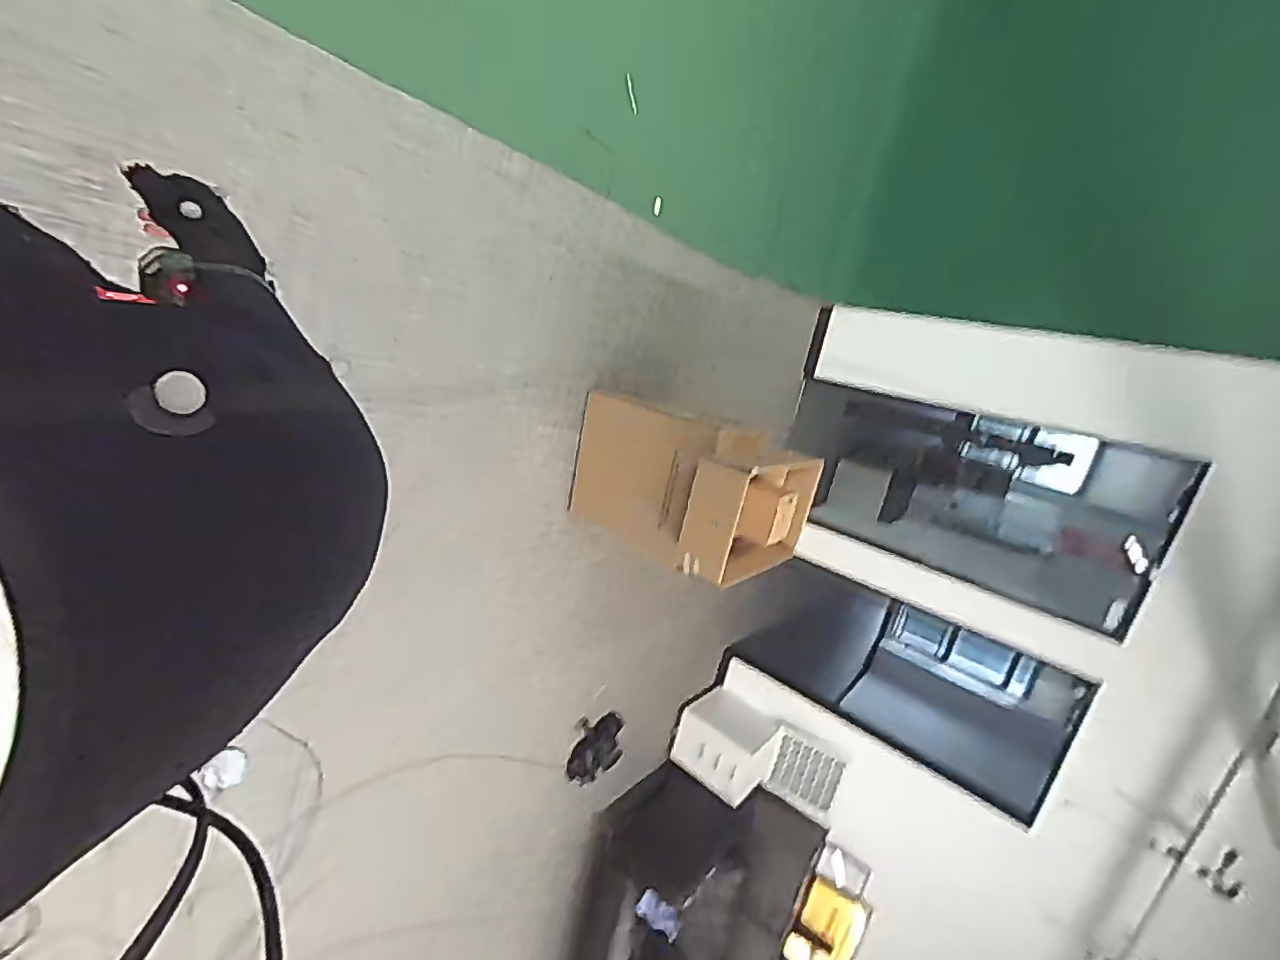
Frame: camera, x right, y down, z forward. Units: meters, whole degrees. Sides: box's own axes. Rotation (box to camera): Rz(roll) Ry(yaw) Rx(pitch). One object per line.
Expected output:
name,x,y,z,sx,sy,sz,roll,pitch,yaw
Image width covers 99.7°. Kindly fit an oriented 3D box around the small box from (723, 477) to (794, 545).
small box,0.409,0.103,1.890,0.168,0.176,0.179,-10,118,-53
